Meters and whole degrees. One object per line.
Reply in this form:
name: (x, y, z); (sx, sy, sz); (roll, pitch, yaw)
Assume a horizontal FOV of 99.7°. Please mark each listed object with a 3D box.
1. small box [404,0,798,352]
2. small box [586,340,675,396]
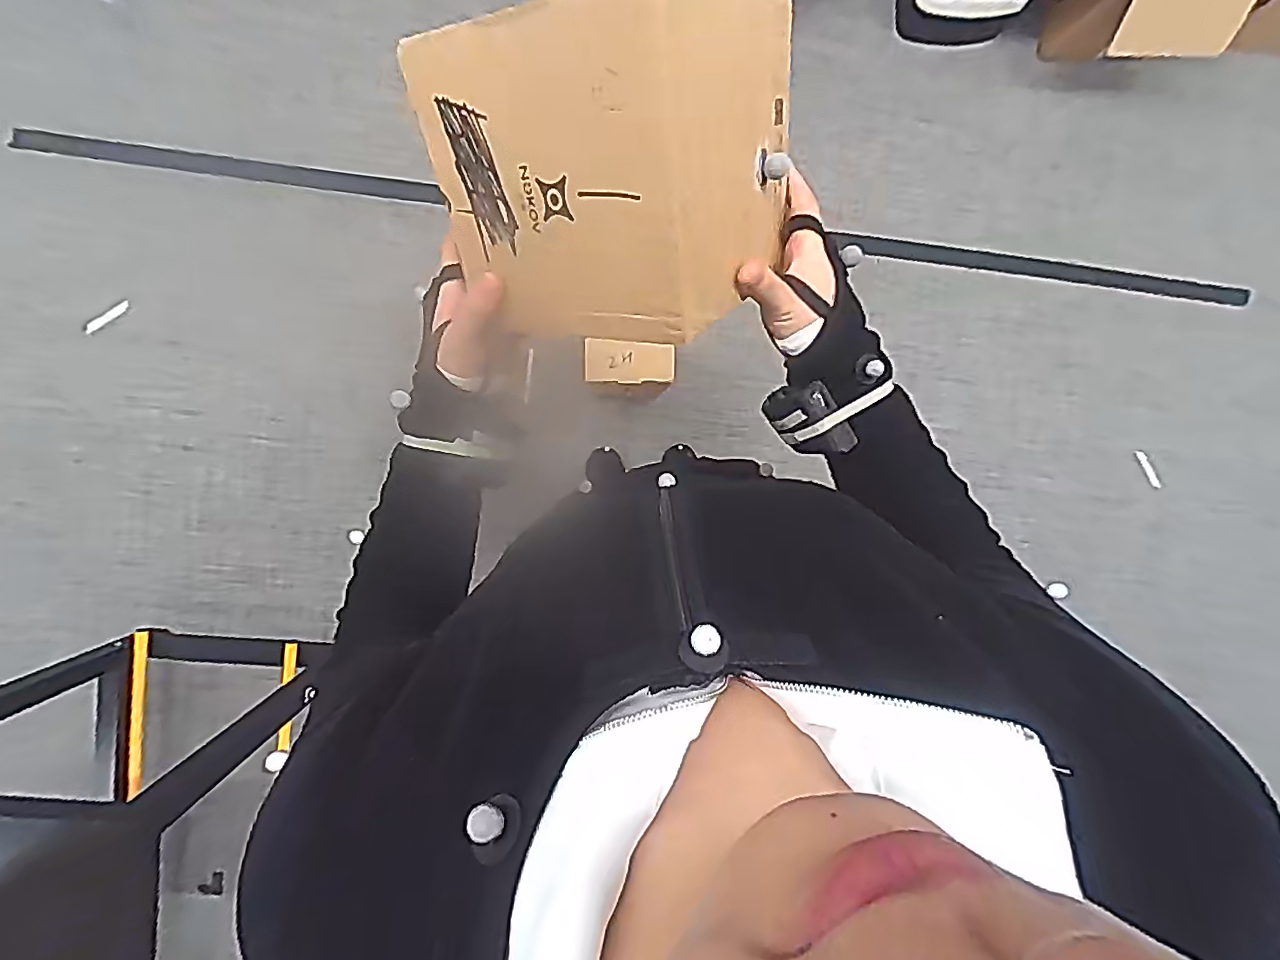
small box: (-0.010, -0.202, 0.360); (0.179, 0.176, 0.168); (13, 131, 28)
small box: (-0.021, -0.264, 1.068); (0.168, 0.176, 0.179); (0, 94, -2)
